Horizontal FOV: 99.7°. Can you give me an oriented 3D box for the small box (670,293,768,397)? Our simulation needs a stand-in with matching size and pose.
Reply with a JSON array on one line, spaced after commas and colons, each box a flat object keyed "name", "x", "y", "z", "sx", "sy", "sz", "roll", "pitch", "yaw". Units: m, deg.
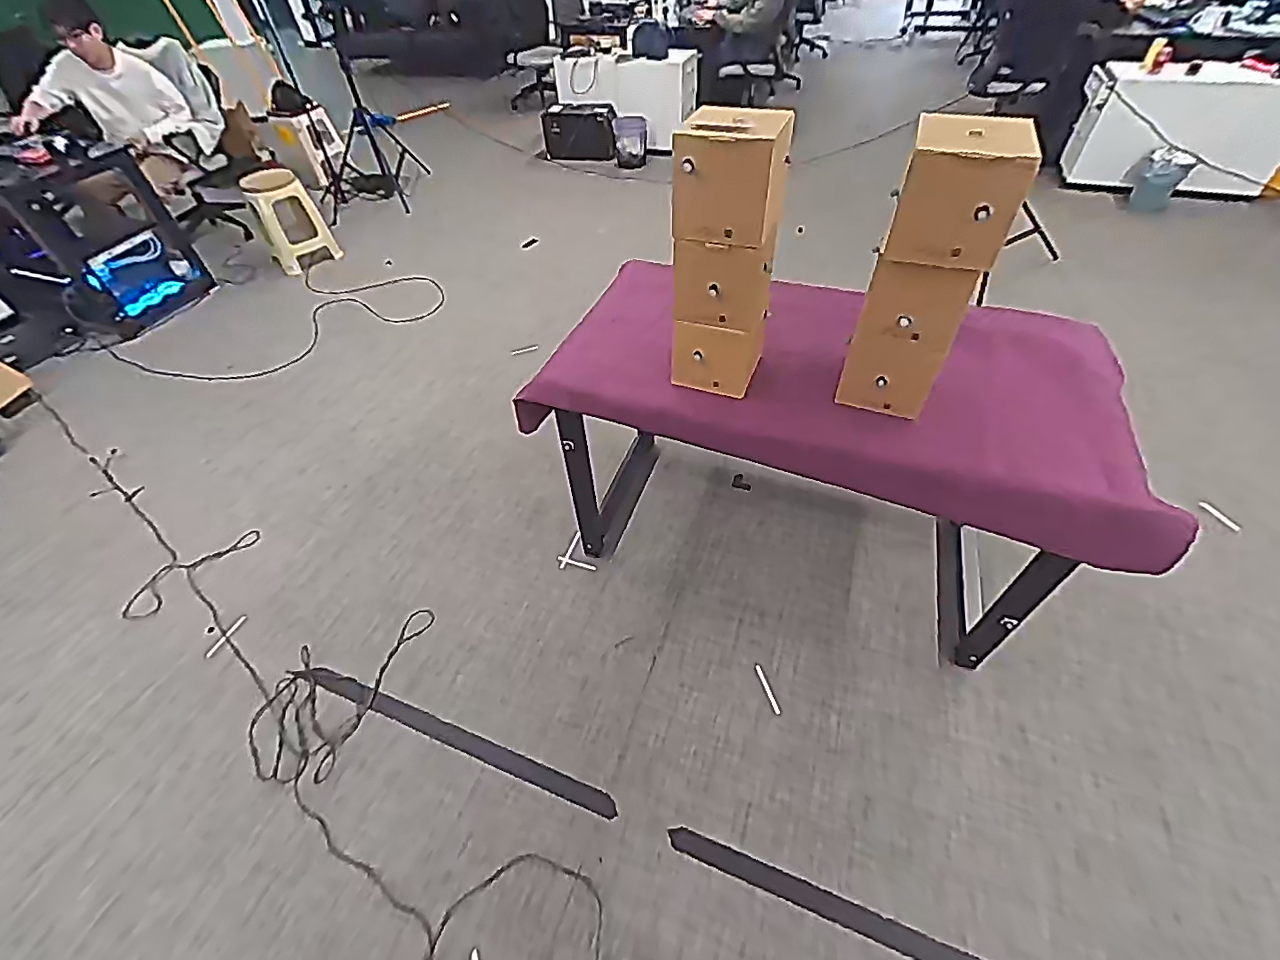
[{"name": "small box", "x": 0.173, "y": -0.307, "z": 1.192, "sx": 0.168, "sy": 0.176, "sz": 0.179, "roll": 15, "pitch": 50, "yaw": 16}]

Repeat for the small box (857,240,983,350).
[{"name": "small box", "x": 0.517, "y": -0.370, "z": 1.005, "sx": 0.168, "sy": 0.176, "sz": 0.179, "roll": 16, "pitch": 52, "yaw": 17}]

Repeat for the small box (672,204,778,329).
[{"name": "small box", "x": 0.168, "y": -0.422, "z": 1.075, "sx": 0.168, "sy": 0.176, "sz": 0.179, "roll": 14, "pitch": 50, "yaw": 14}]

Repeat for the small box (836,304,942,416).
[{"name": "small box", "x": 0.519, "y": -0.258, "z": 1.126, "sx": 0.168, "sy": 0.176, "sz": 0.179, "roll": 17, "pitch": 51, "yaw": 17}]

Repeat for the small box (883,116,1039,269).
[{"name": "small box", "x": 0.503, "y": -0.462, "z": 0.871, "sx": 0.168, "sy": 0.176, "sz": 0.179, "roll": 14, "pitch": 50, "yaw": 14}]
